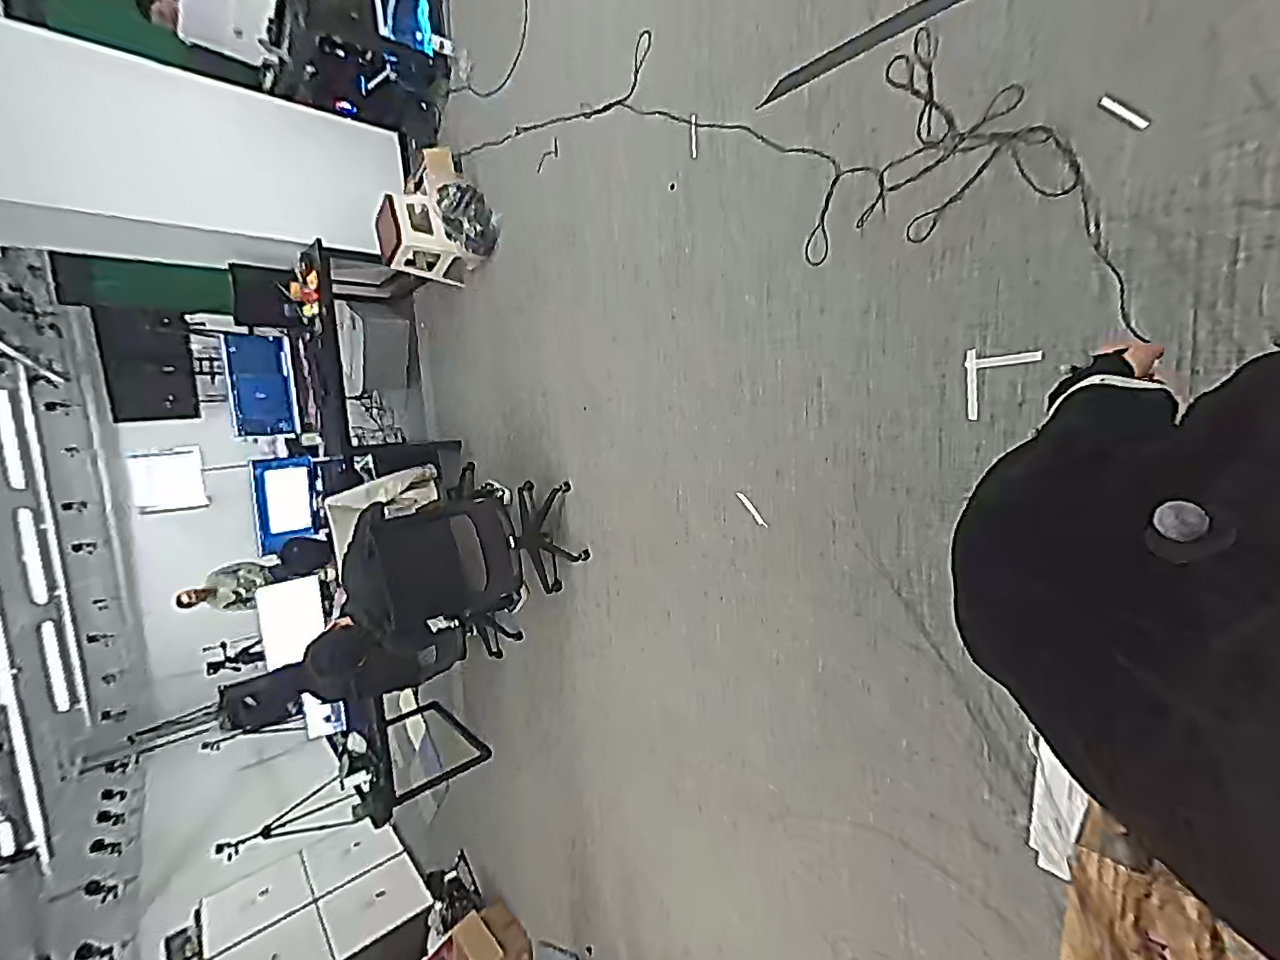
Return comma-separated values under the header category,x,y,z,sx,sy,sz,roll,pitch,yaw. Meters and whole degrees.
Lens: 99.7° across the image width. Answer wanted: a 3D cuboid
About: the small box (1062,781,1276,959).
category,x,y,z,sx,sy,sz,roll,pitch,yaw
small box,0.649,0.524,0.669,0.168,0.176,0.179,7,101,47
